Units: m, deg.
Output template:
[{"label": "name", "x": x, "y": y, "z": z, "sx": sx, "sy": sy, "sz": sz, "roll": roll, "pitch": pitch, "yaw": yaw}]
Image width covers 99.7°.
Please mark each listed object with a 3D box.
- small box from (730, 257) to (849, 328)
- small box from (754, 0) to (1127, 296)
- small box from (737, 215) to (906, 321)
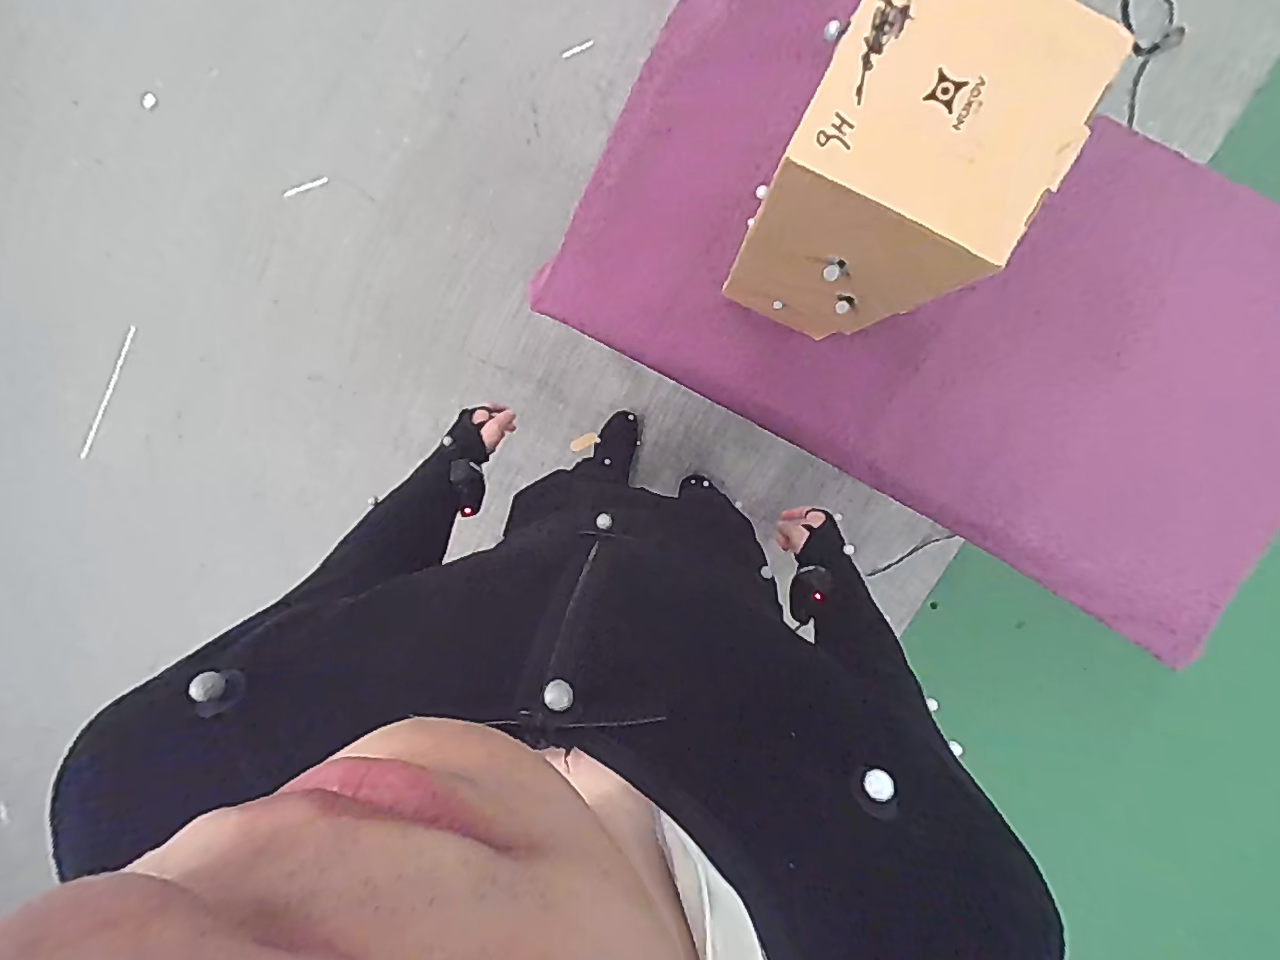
[{"label": "small box", "x": 0.246, "y": -0.331, "z": 0.772, "sx": 0.179, "sy": 0.176, "sz": 0.168, "roll": 27, "pitch": 99, "yaw": 1}, {"label": "small box", "x": 0.217, "y": -0.272, "z": 0.449, "sx": 0.179, "sy": 0.176, "sz": 0.168, "roll": 28, "pitch": 98, "yaw": -1}, {"label": "small box", "x": 0.229, "y": -0.296, "z": 0.610, "sx": 0.179, "sy": 0.176, "sz": 0.168, "roll": 29, "pitch": 98, "yaw": 0}]
